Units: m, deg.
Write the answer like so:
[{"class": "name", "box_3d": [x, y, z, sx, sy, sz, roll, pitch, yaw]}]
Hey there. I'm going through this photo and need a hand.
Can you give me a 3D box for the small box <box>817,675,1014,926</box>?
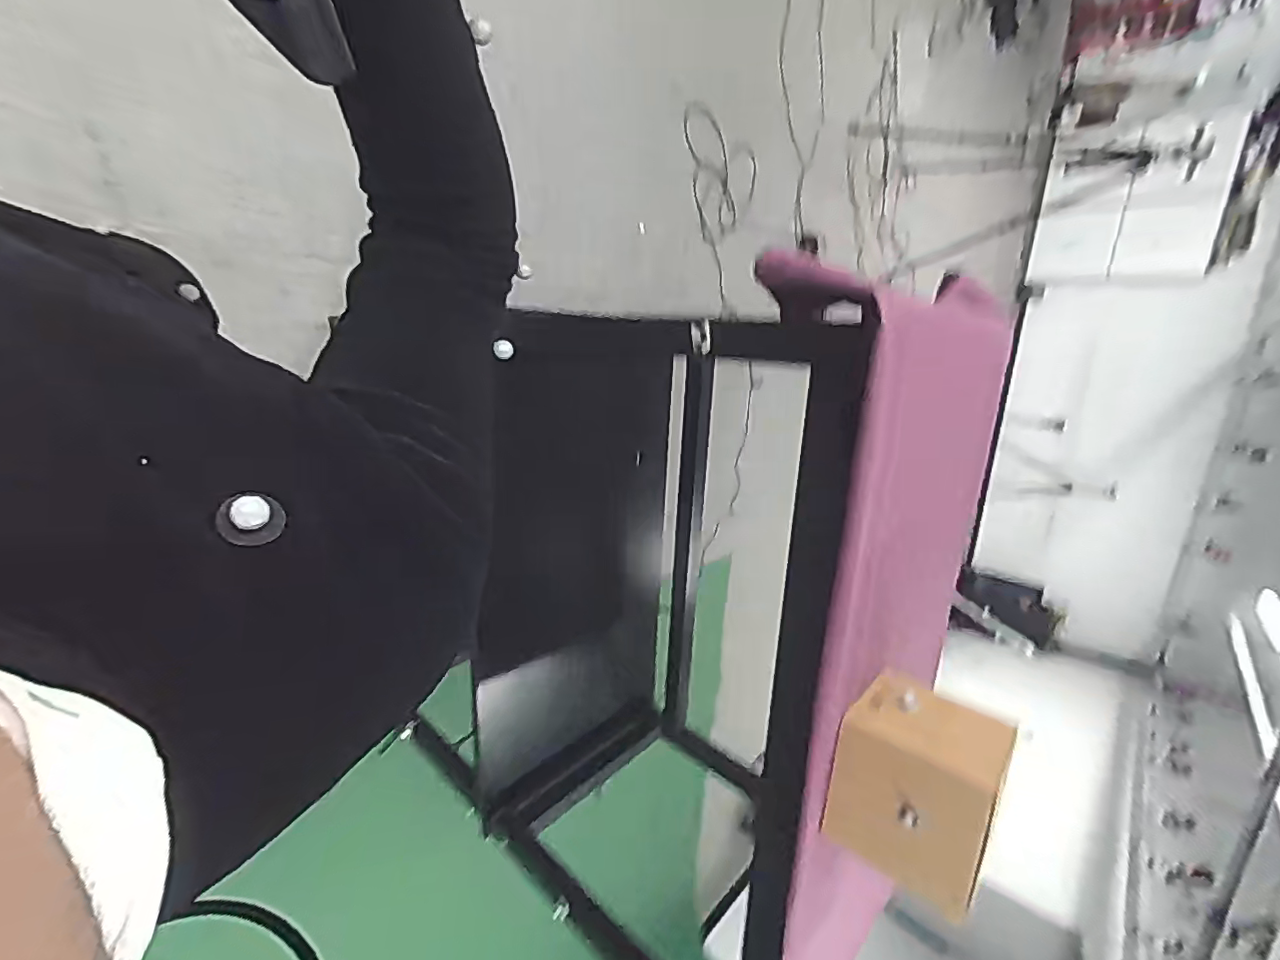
[{"class": "small box", "box_3d": [0.341, 0.381, 0.681, 0.168, 0.176, 0.179, -6, 106, -48]}]
